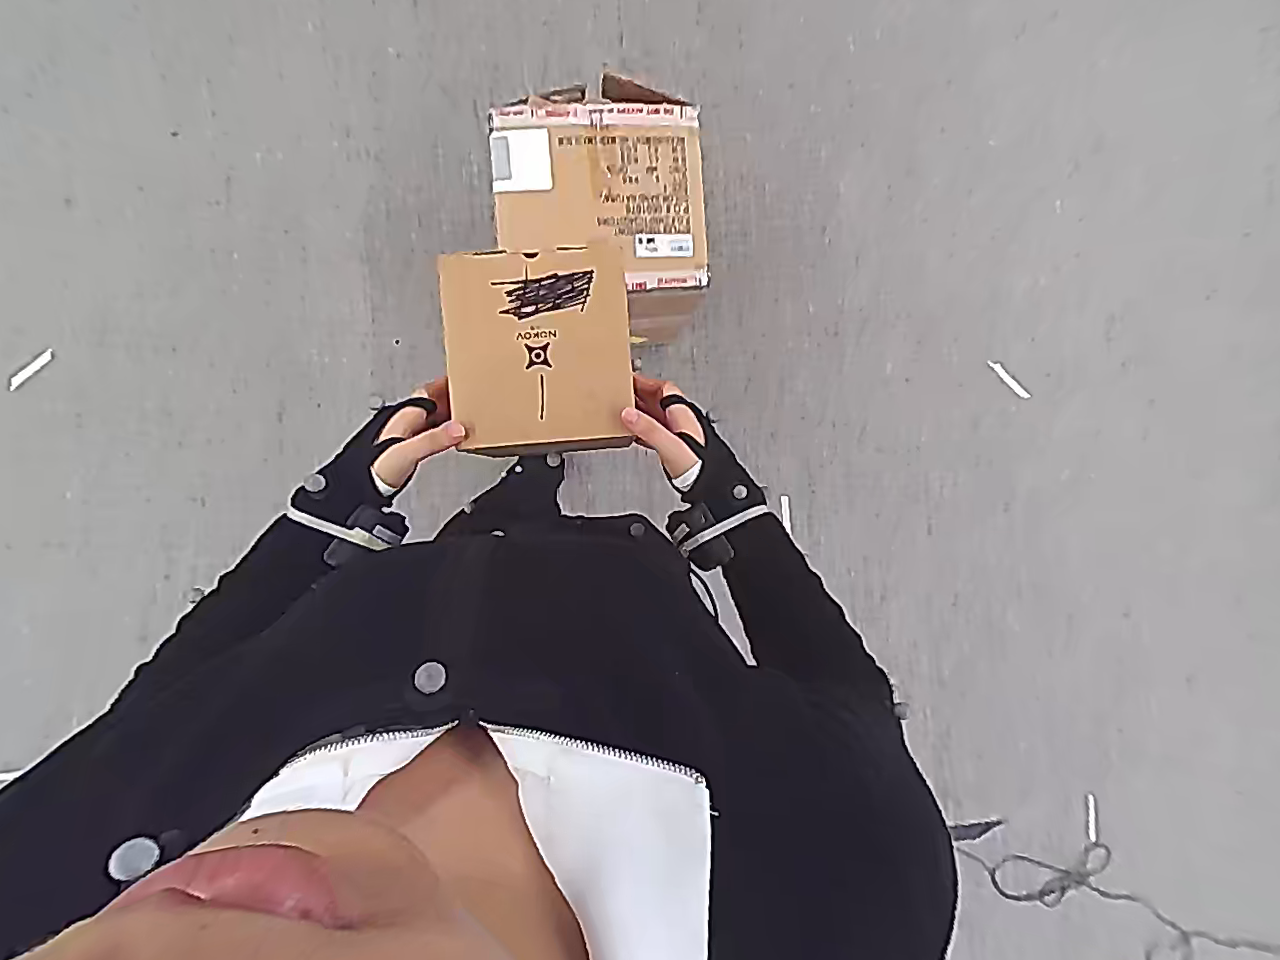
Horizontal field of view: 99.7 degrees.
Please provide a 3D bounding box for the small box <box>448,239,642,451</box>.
[{"bbox_3d":[-0.090,-0.127,0.566,0.168,0.176,0.179,-5,91,-3],"label":"small box"}]
